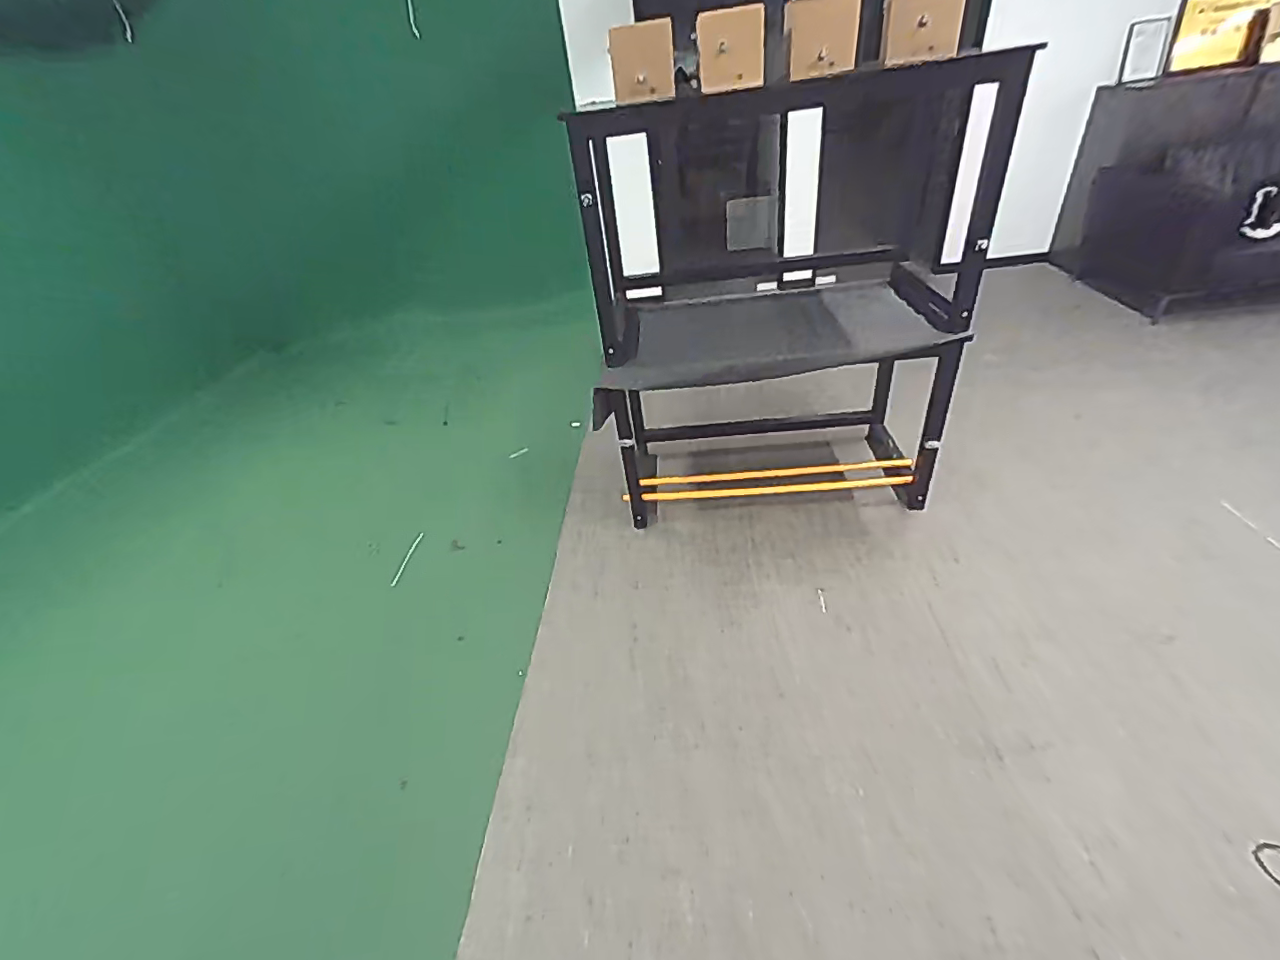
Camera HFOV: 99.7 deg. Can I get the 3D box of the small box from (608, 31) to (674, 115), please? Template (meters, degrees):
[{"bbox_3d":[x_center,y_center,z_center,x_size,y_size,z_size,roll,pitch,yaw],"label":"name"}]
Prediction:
[{"bbox_3d":[0.007,-1.136,1.516,0.168,0.176,0.179,-5,37,5],"label":"small box"}]

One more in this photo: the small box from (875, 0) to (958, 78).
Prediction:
[{"bbox_3d":[0.723,-1.175,1.423,0.168,0.176,0.179,3,37,15],"label":"small box"}]
